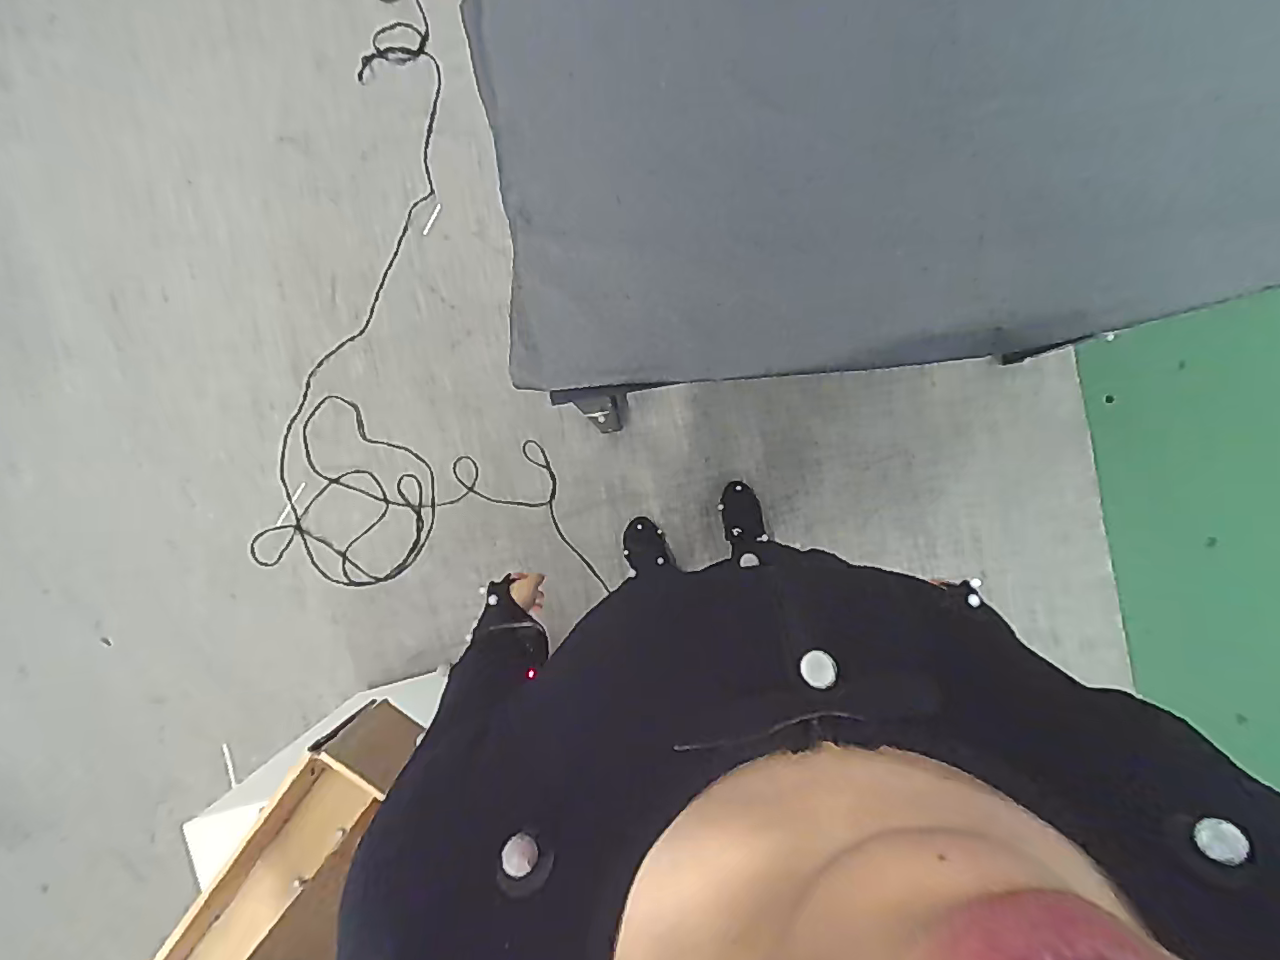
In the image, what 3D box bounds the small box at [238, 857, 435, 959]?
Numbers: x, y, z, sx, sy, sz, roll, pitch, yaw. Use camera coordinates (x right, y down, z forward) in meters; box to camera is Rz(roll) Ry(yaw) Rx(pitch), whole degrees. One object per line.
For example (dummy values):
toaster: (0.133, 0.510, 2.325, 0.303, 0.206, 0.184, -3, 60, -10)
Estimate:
small box: (-0.376, 0.586, 0.620, 0.179, 0.176, 0.168, 38, 93, -2)
